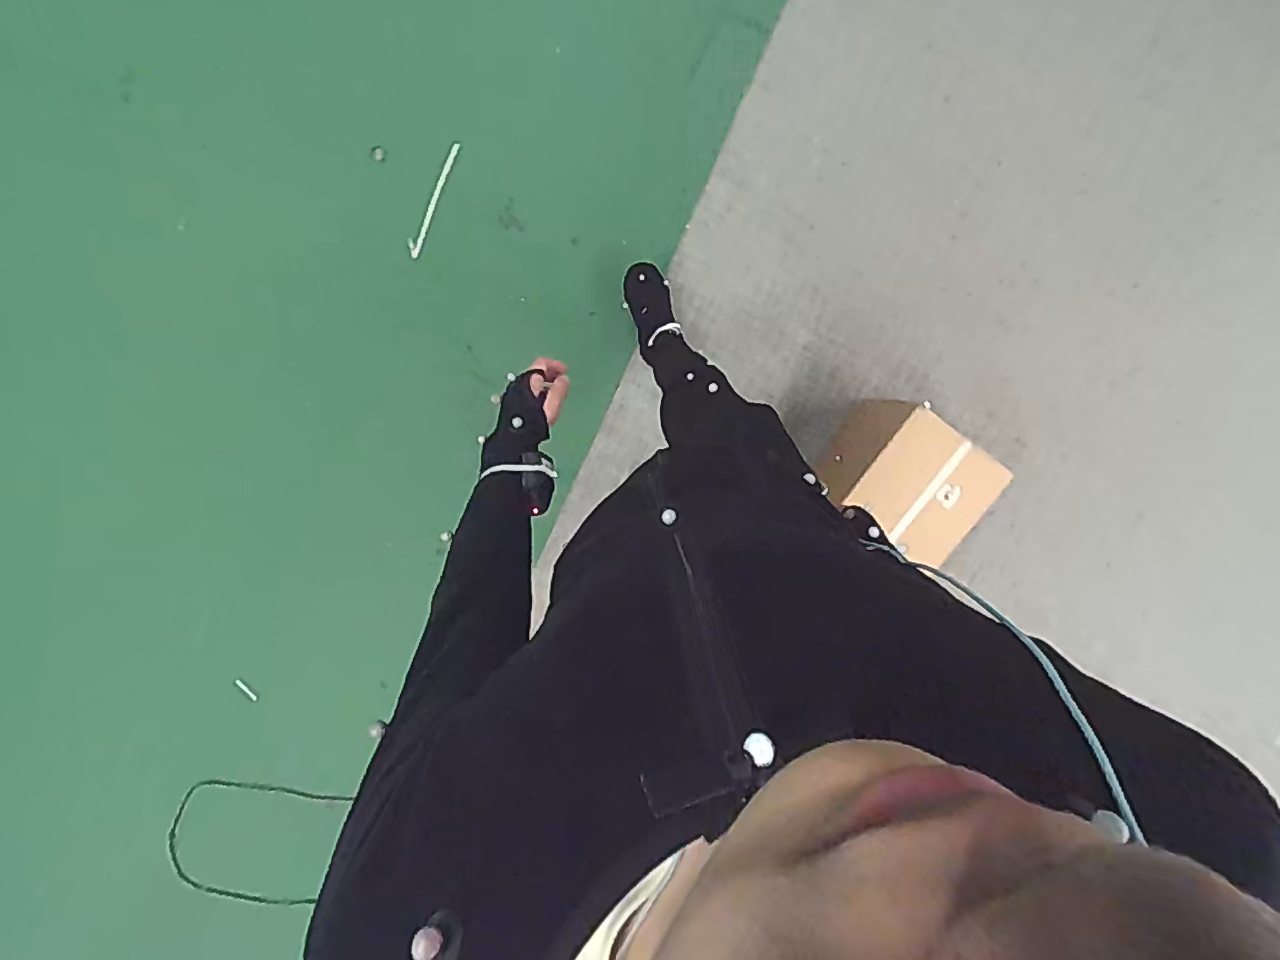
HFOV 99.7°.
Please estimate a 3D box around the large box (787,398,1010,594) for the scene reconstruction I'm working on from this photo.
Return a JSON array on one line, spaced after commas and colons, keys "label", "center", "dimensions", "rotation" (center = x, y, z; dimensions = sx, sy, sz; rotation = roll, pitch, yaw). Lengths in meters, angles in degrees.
[{"label": "large box", "center": [0.672, 0.025, 1.479], "dimensions": [0.320, 0.320, 0.408], "rotation": [35, 98, -7]}]
